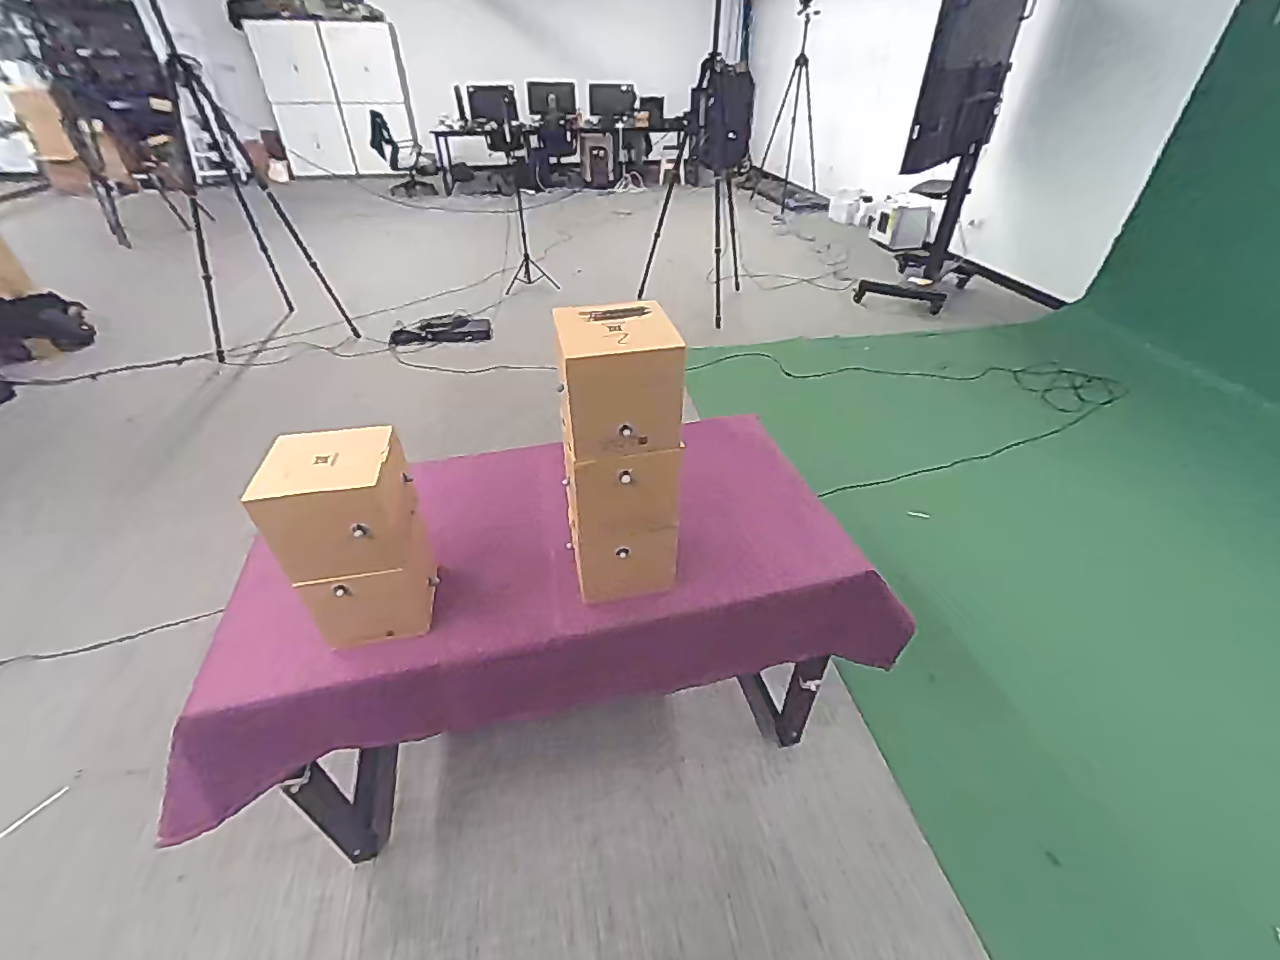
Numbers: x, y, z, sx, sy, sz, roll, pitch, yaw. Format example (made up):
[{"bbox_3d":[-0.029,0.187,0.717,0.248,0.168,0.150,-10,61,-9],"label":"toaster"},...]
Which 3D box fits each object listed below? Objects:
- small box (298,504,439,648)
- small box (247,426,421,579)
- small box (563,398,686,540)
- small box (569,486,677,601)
[{"bbox_3d":[-0.461,0.164,0.952,0.168,0.176,0.179,-7,38,-8],"label":"small box"},{"bbox_3d":[-0.460,0.035,0.851,0.179,0.176,0.168,-7,38,-8],"label":"small box"},{"bbox_3d":[-0.030,-0.019,0.922,0.179,0.176,0.168,-9,39,-10],"label":"small box"},{"bbox_3d":[-0.034,0.109,1.022,0.179,0.176,0.168,-7,39,-10],"label":"small box"}]
